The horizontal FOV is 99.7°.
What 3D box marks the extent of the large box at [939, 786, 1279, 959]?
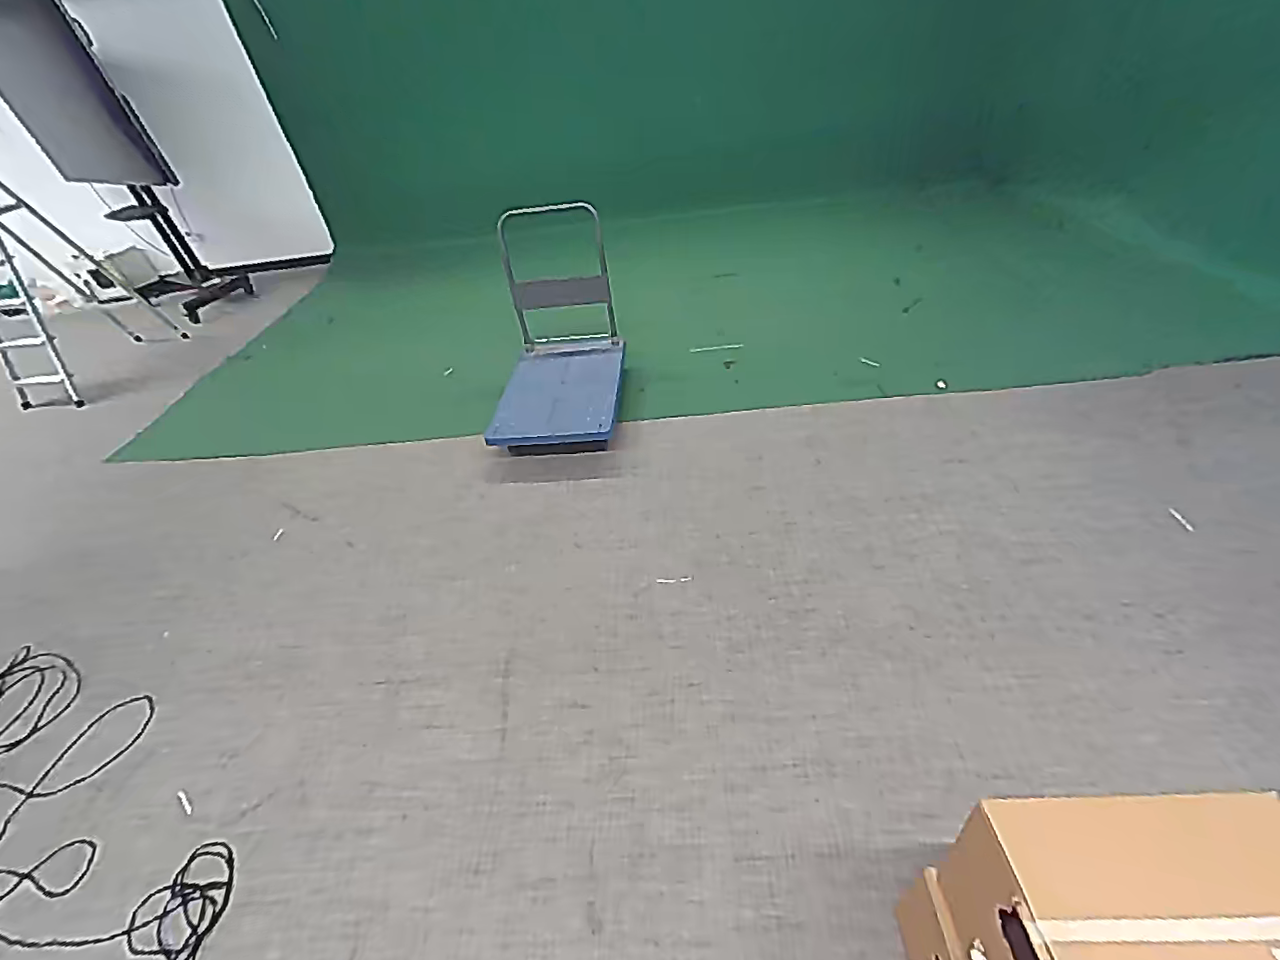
[{"bbox_3d":[0.705,0.656,0.738,0.408,0.320,0.320,-4,37,5],"label":"large box"}]
